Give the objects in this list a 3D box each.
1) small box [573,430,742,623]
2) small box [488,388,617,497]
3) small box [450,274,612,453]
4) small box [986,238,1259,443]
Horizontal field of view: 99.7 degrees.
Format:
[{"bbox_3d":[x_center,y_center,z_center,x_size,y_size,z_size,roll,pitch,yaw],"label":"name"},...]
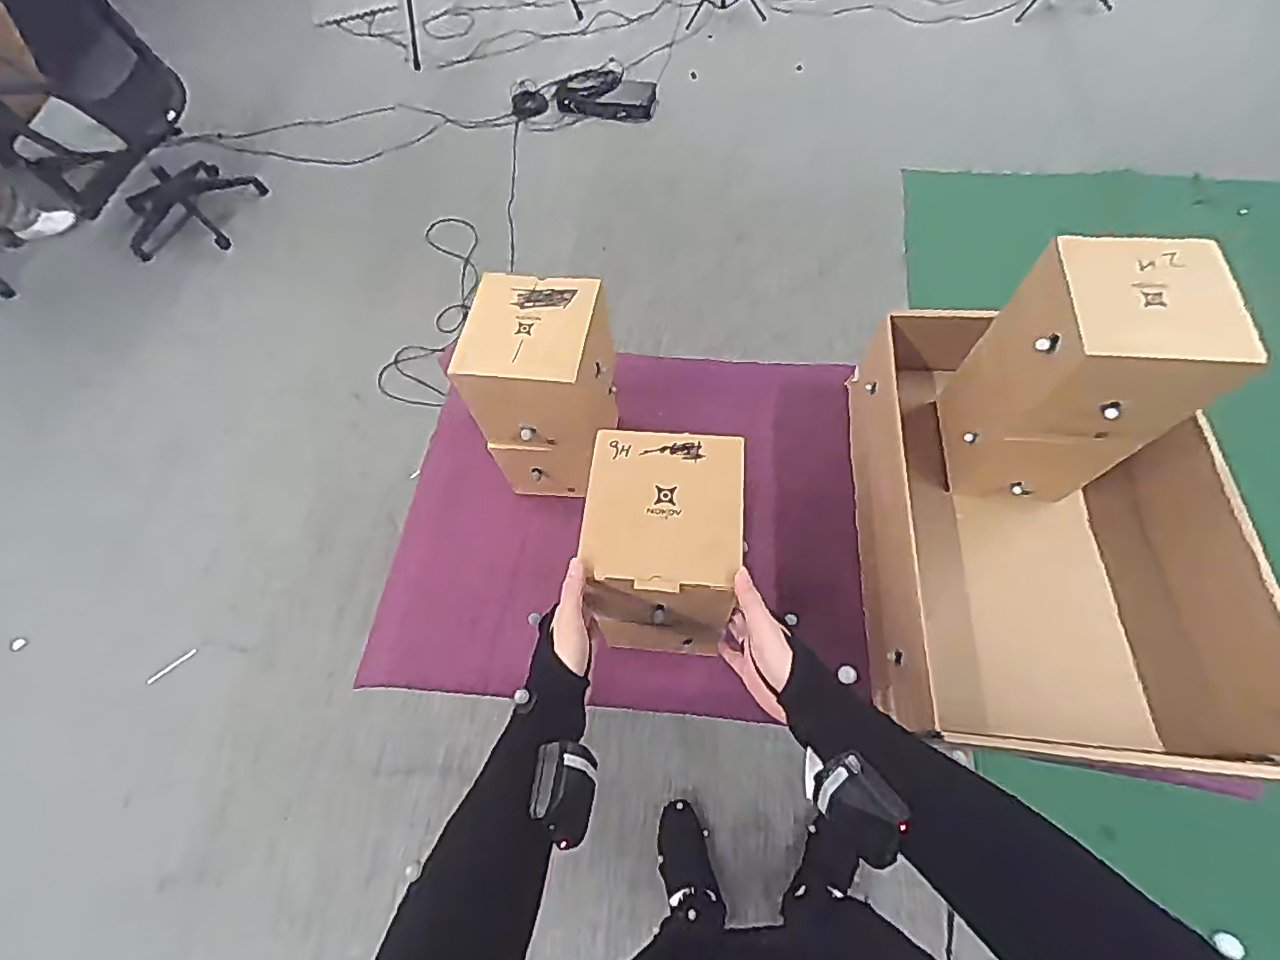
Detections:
[{"bbox_3d":[0.028,0.062,0.633,0.168,0.176,0.179,4,63,5],"label":"small box"},{"bbox_3d":[-0.134,-0.081,0.907,0.168,0.176,0.179,2,62,6],"label":"small box"},{"bbox_3d":[-0.138,-0.160,0.763,0.168,0.176,0.179,6,63,8],"label":"small box"},{"bbox_3d":[0.549,-0.160,0.650,0.168,0.176,0.179,6,64,8],"label":"small box"}]
